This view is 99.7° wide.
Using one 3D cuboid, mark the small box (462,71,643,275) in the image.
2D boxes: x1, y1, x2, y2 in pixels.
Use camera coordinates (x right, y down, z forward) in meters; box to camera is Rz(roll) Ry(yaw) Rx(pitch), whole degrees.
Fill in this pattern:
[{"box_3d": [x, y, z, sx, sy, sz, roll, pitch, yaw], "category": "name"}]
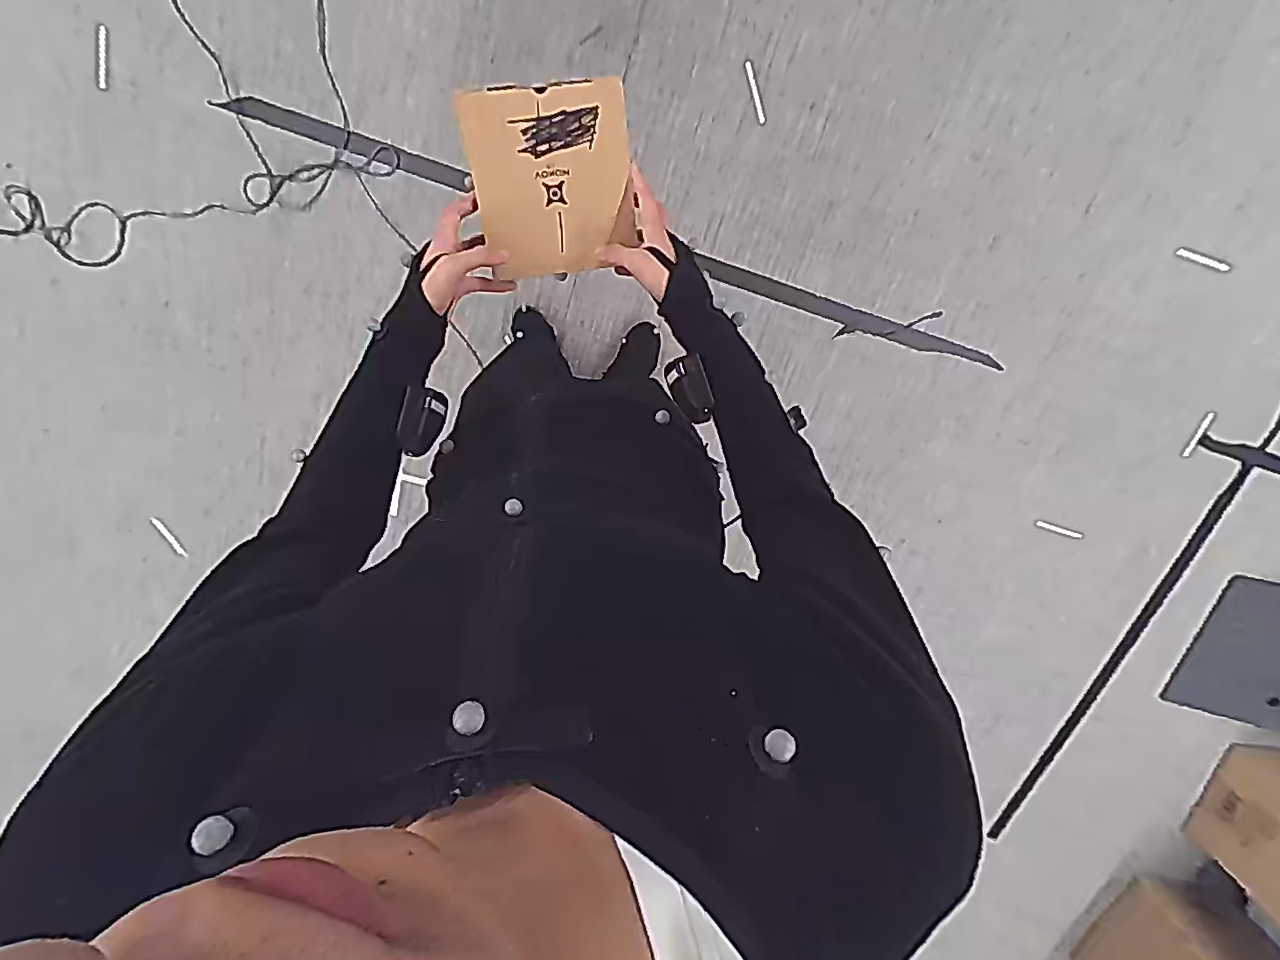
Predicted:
[{"box_3d": [-0.096, -0.341, 0.624, 0.168, 0.176, 0.179, -8, 116, -6], "category": "small box"}]
